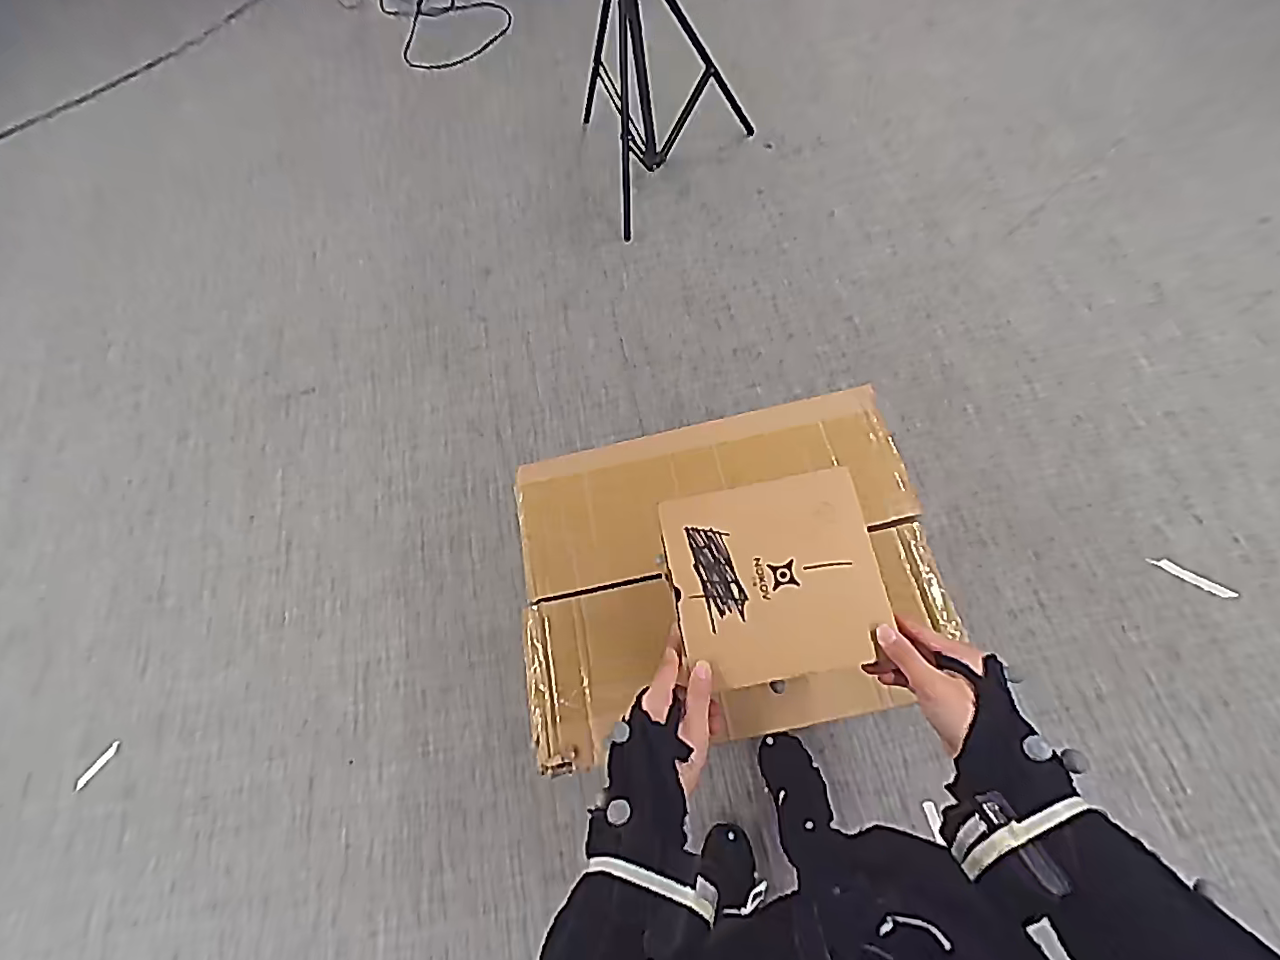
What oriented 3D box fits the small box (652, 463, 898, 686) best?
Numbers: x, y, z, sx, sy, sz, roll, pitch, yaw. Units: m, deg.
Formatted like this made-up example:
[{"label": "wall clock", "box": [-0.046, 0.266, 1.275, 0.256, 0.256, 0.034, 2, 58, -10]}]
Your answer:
[{"label": "small box", "box": [0.117, 0.099, 0.533, 0.179, 0.176, 0.168, -11, 74, 2]}]
